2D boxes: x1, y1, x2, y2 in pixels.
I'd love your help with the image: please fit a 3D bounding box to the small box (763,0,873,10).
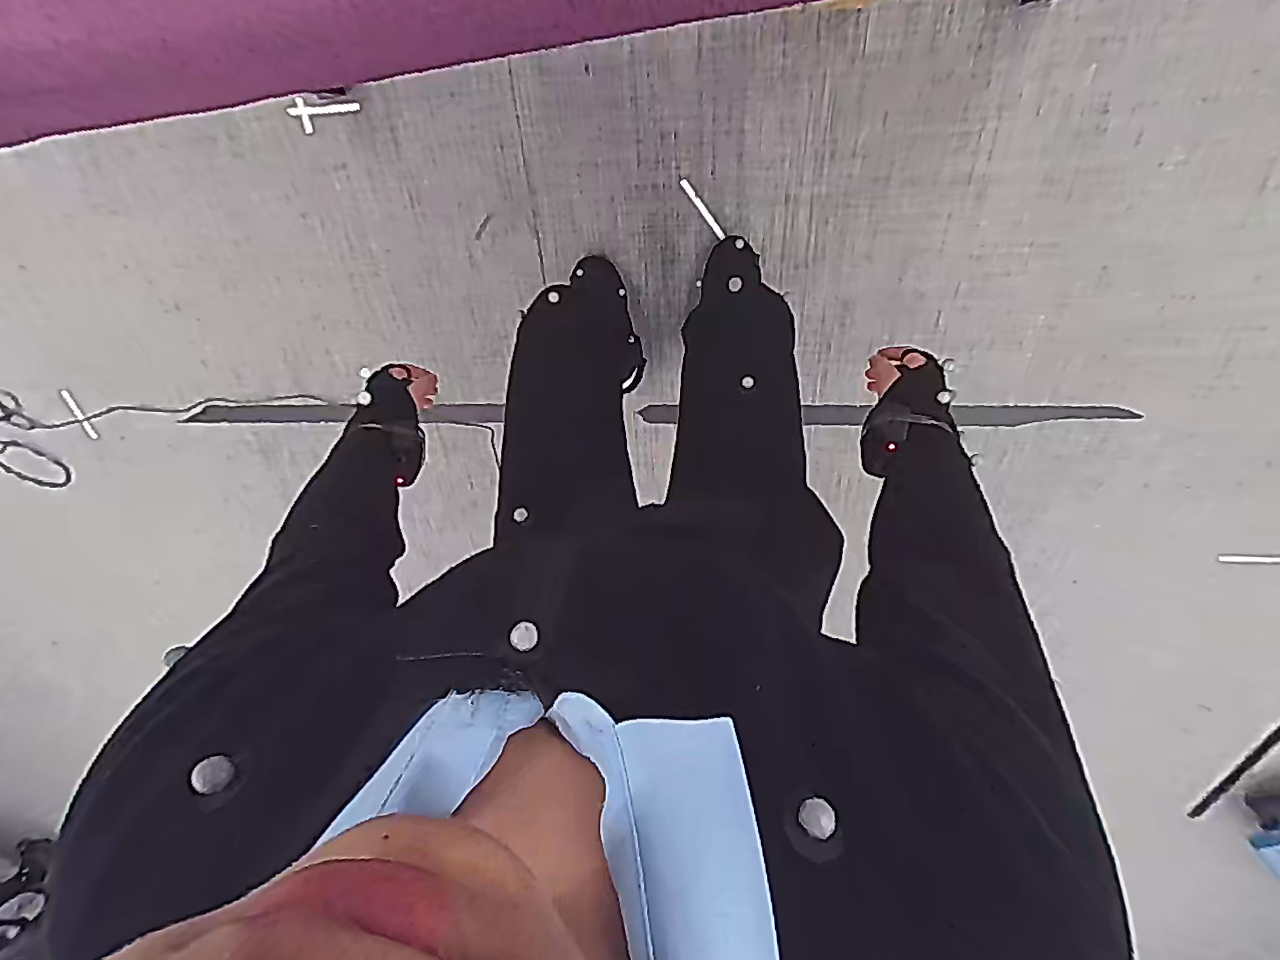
[{"bbox_3d":[0.257,-0.745,0.714,0.168,0.176,0.179,2,123,5],"label":"small box"}]
